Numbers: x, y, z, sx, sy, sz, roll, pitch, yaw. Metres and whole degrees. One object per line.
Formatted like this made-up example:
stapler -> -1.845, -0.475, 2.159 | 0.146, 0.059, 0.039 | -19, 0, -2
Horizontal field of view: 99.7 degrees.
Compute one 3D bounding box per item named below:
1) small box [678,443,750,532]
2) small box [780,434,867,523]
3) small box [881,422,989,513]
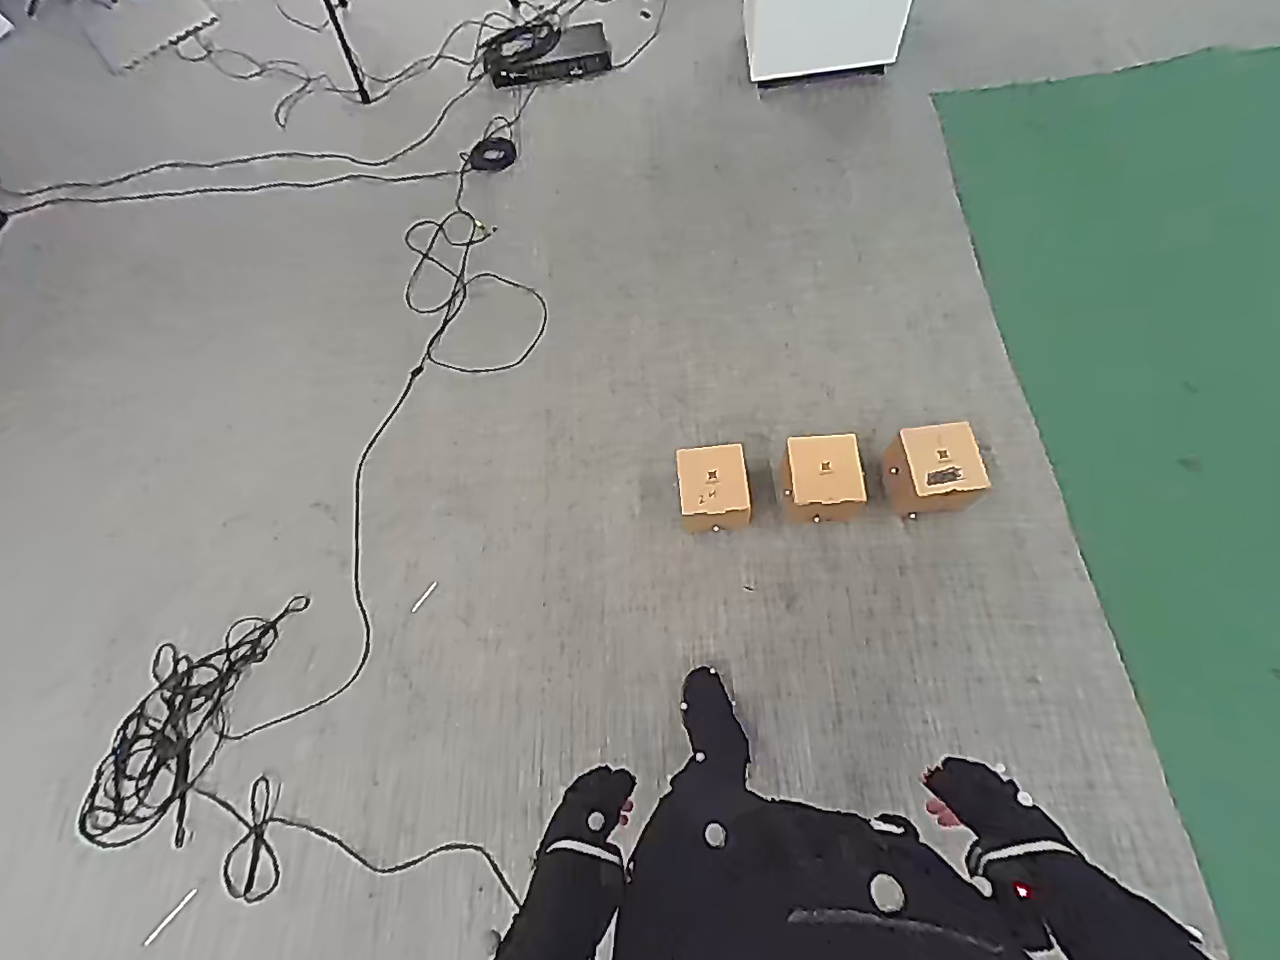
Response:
small box -> 0.187, 0.023, 1.387 | 0.168, 0.176, 0.179 | -6, 68, 6
small box -> 0.453, 0.000, 1.365 | 0.168, 0.176, 0.179 | -3, 69, 6
small box -> 0.720, -0.023, 1.339 | 0.168, 0.176, 0.179 | -6, 67, 5
